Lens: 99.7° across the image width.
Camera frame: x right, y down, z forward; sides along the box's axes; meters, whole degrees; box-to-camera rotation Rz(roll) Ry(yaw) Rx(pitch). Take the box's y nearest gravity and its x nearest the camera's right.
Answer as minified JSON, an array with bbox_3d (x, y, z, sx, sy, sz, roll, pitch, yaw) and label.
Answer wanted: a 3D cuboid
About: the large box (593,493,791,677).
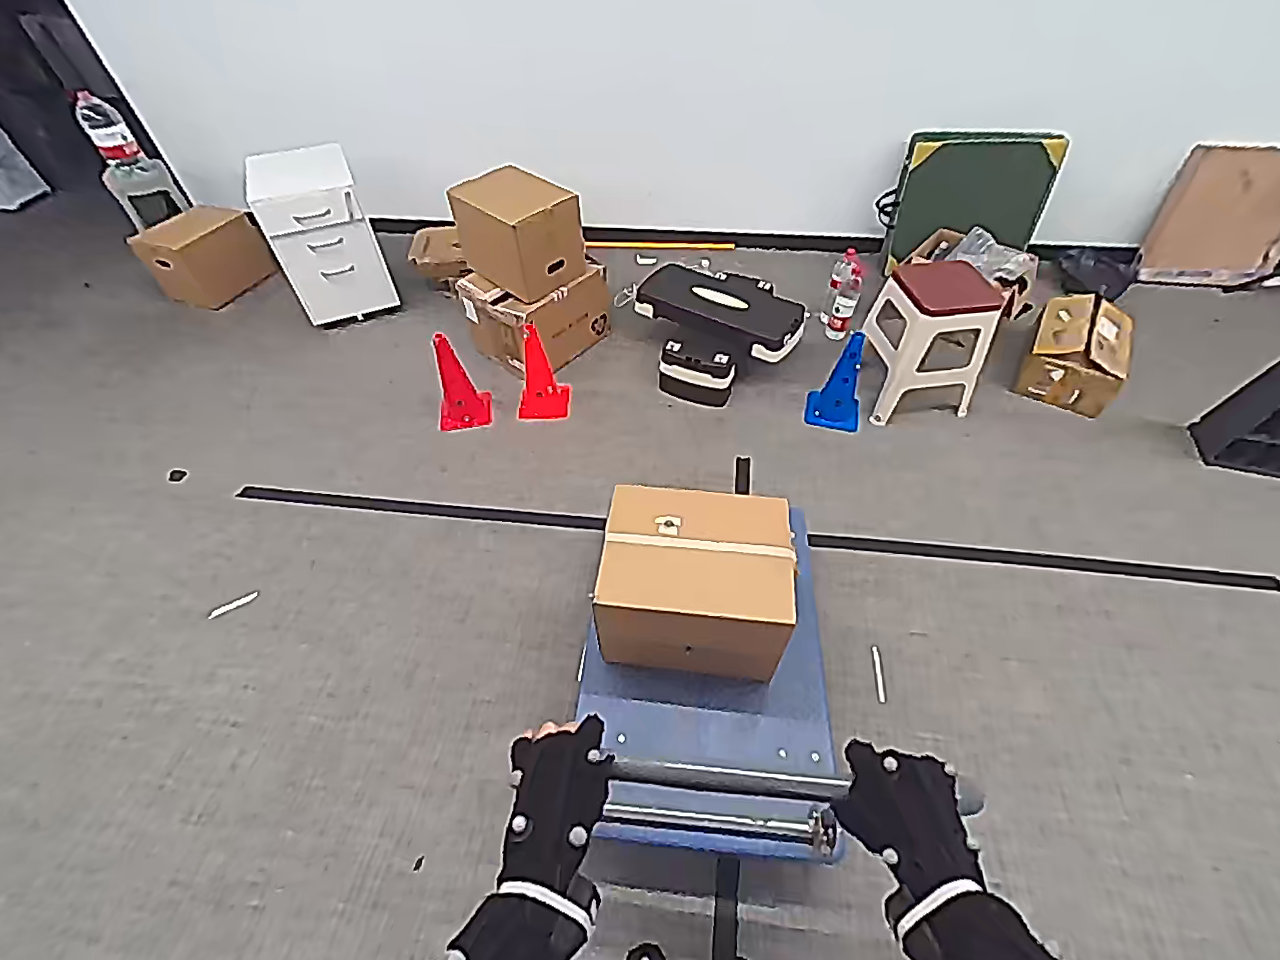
[{"bbox_3d":[0.124,0.254,1.288,0.408,0.320,0.320,4,50,6],"label":"large box"}]
